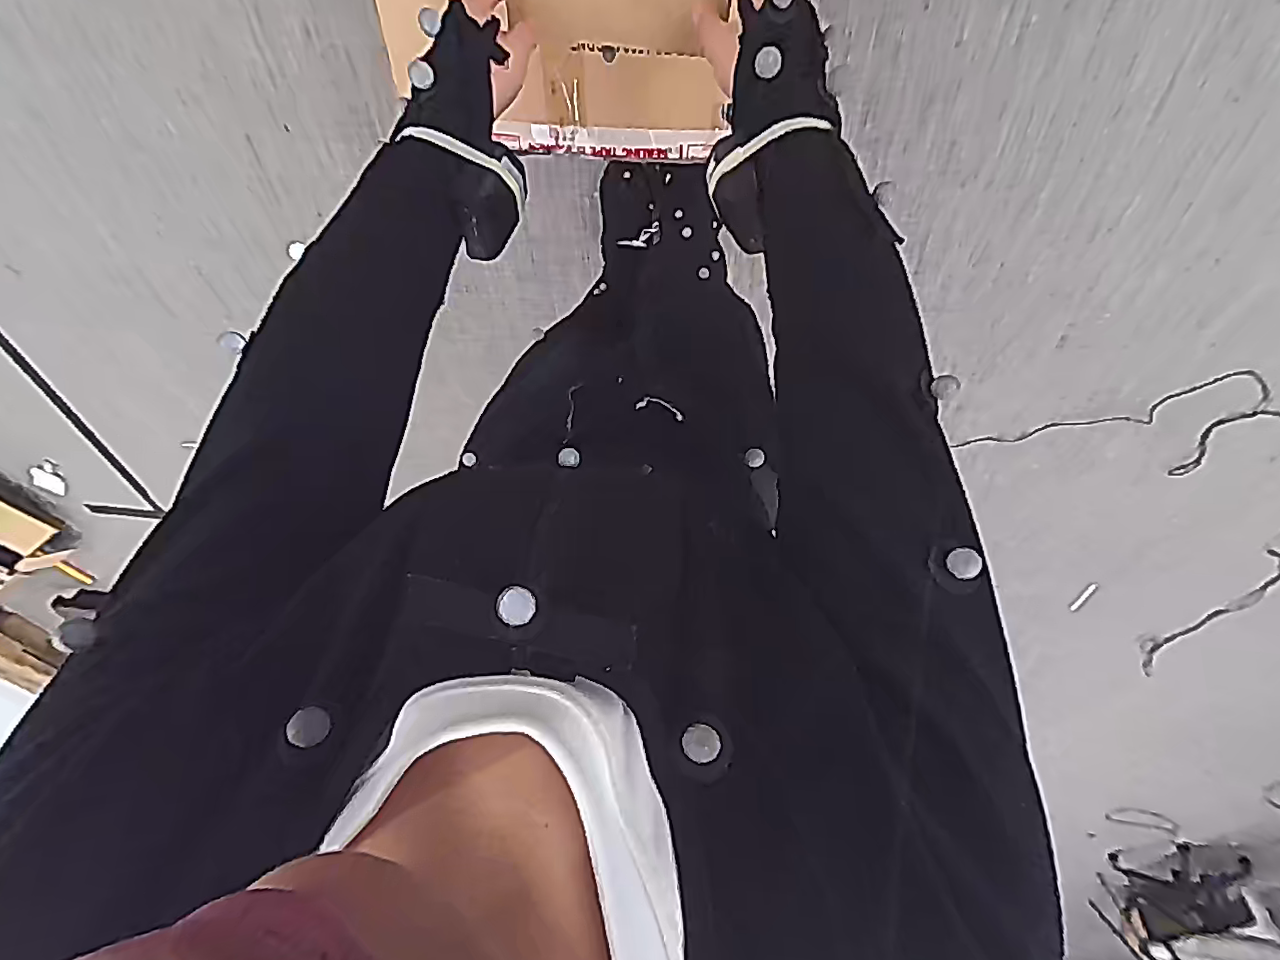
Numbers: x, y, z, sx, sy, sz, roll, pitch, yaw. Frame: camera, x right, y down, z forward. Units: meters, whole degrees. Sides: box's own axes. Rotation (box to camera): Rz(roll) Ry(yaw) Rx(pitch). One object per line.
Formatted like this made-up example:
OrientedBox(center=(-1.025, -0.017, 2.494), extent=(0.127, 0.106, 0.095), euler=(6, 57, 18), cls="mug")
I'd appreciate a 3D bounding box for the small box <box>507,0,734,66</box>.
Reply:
OrientedBox(center=(-0.003, -0.455, 0.432), extent=(0.179, 0.176, 0.168), euler=(7, 136, 1), cls="small box")
